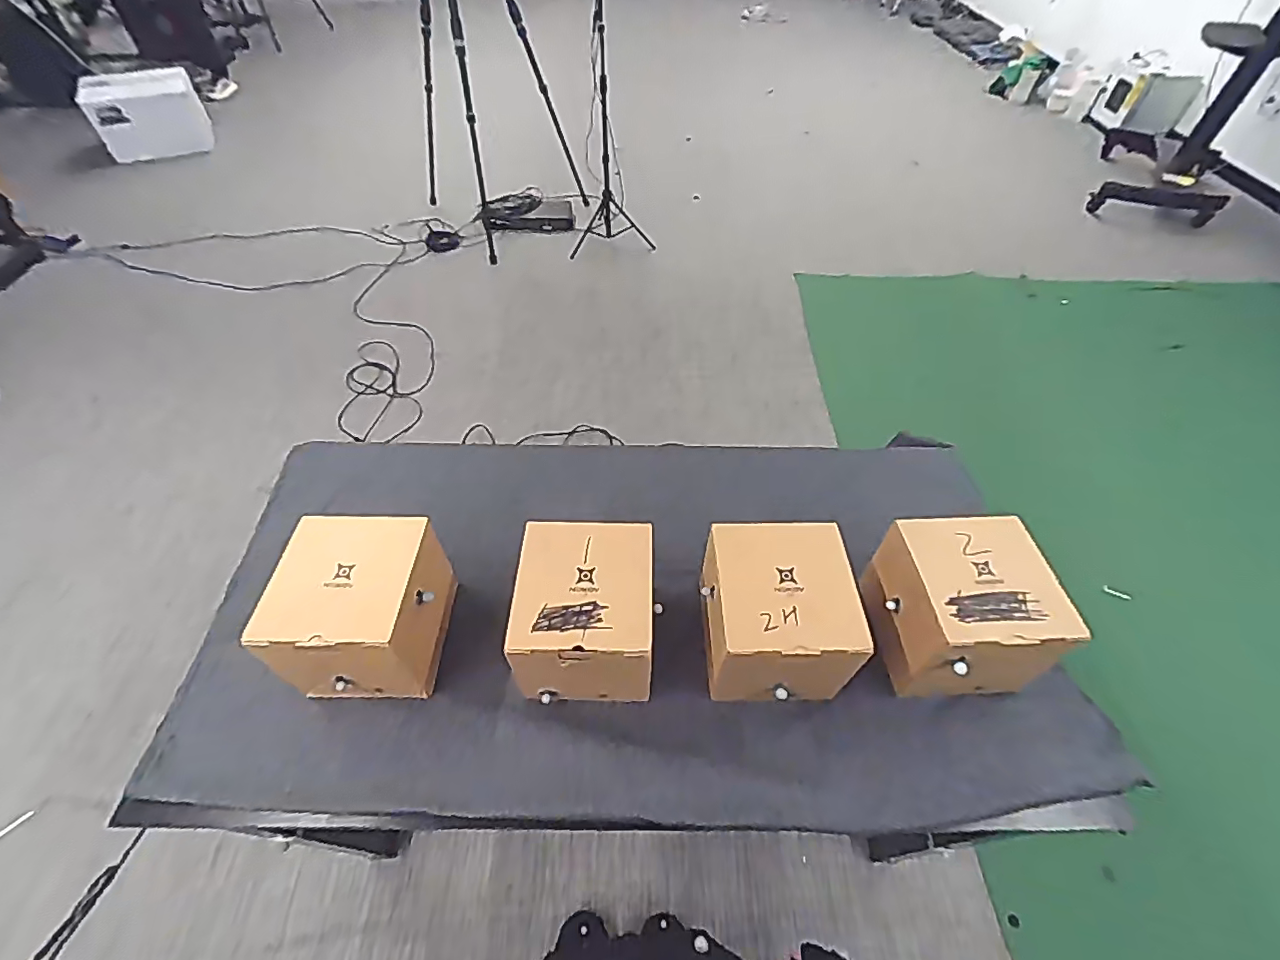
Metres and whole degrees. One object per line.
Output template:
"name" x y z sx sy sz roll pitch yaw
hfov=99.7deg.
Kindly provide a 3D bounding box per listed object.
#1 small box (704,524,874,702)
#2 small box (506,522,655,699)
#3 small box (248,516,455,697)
"small box" 0.177 0.175 0.711 0.168 0.176 0.179 -1 51 0
"small box" -0.065 0.175 0.708 0.168 0.176 0.179 2 50 0
"small box" -0.354 0.166 0.709 0.168 0.176 0.179 1 50 -1
